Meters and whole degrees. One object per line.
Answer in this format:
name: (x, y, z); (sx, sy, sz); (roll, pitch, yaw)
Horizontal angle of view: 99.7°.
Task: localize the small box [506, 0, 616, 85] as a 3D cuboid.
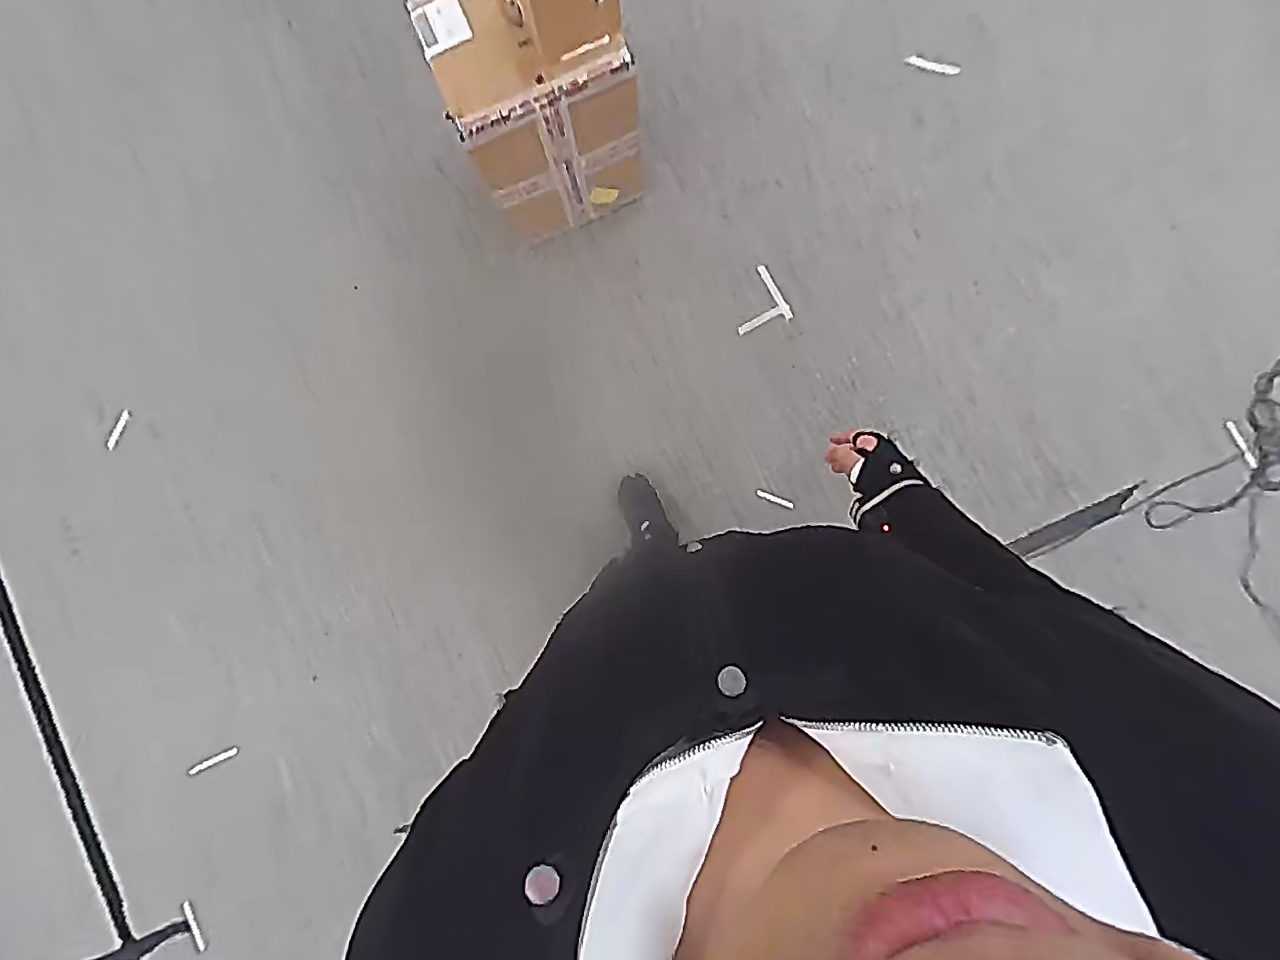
small box: (-0.154, -0.913, 1.027); (0.179, 0.176, 0.168); (-27, 86, 0)
